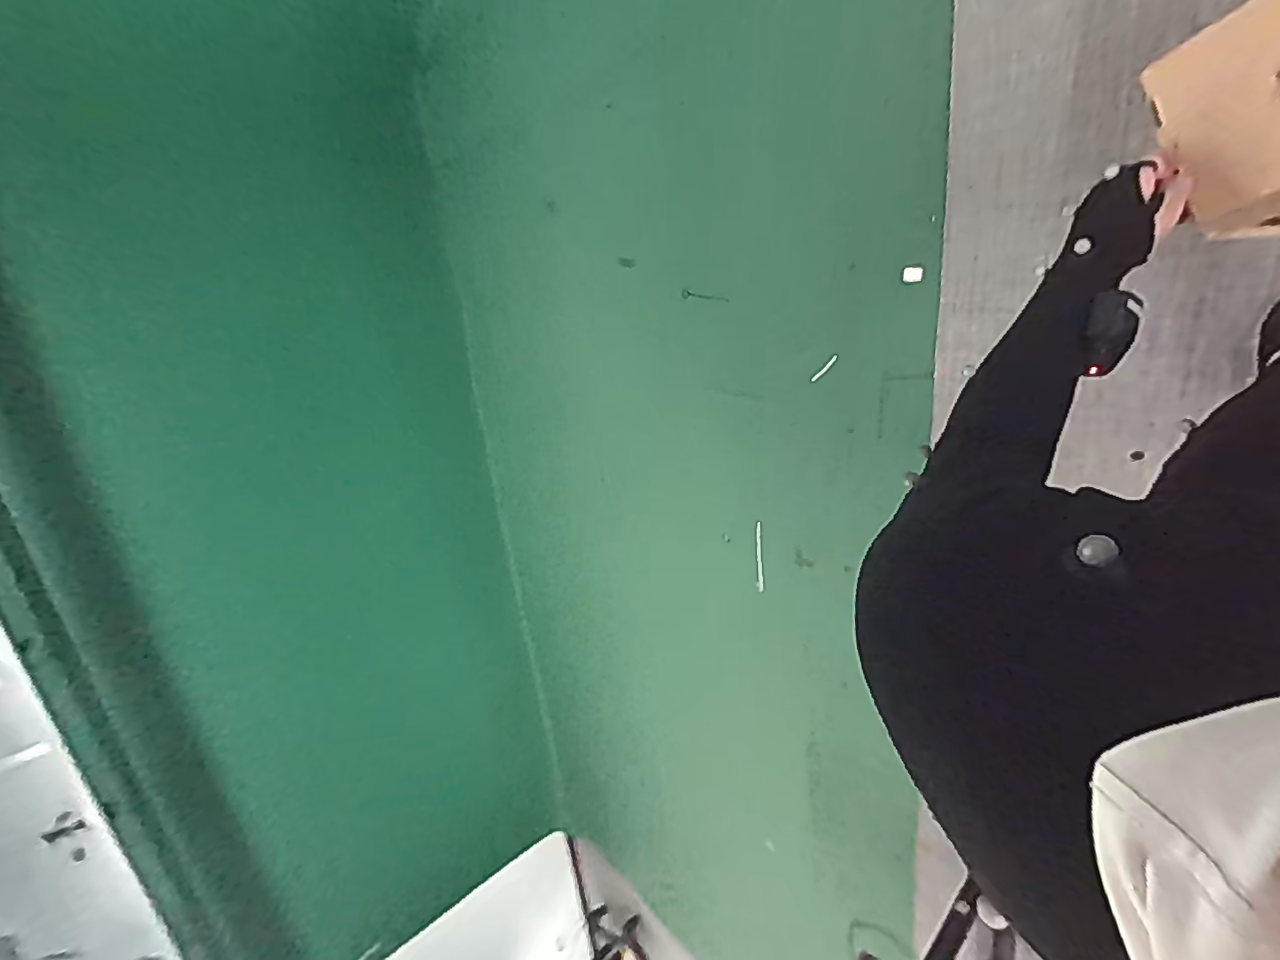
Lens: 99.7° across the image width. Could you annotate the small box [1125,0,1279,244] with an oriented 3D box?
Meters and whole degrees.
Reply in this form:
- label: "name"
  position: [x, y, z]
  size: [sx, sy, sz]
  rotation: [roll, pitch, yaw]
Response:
- label: "small box"
  position: [0.612, -0.343, 0.509]
  size: [0.179, 0.176, 0.168]
  rotation: [-20, 85, 53]
